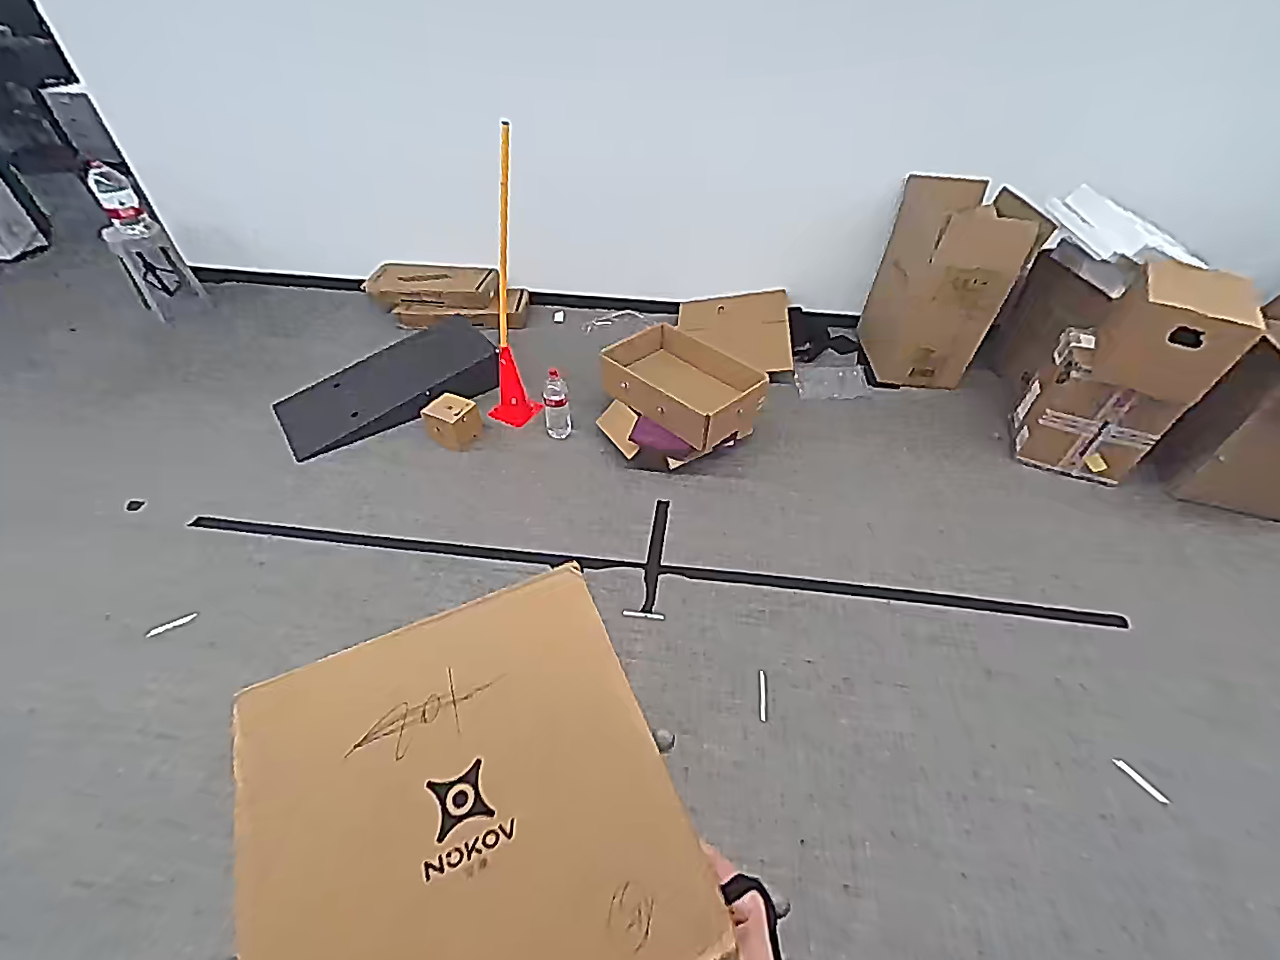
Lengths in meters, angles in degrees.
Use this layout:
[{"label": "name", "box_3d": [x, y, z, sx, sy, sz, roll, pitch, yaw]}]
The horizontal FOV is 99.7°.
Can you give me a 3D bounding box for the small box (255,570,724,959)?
[{"label": "small box", "box_3d": [-0.076, 0.186, 0.299, 0.168, 0.176, 0.179, -20, 56, -17]}]
